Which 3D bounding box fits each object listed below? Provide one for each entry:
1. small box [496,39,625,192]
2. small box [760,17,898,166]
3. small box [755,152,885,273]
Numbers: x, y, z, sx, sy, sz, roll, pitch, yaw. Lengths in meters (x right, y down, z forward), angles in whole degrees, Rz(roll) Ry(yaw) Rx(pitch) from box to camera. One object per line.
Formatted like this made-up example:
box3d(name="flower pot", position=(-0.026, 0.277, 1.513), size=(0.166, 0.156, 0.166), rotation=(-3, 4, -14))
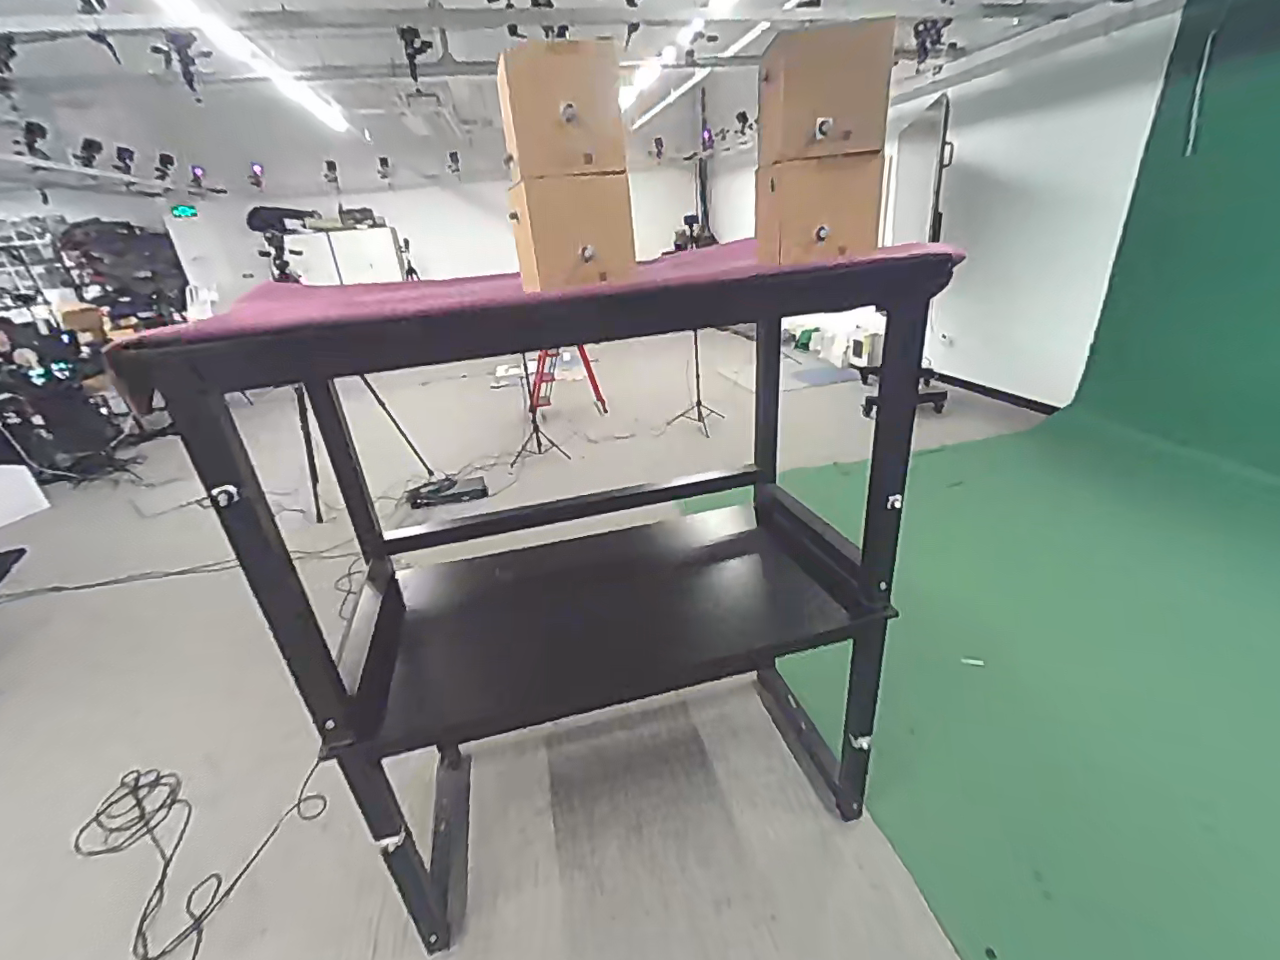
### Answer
box3d(name="small box", position=(-0.125, -0.560, 0.849), size=(0.168, 0.176, 0.179), rotation=(-11, 26, -12))
box3d(name="small box", position=(0.288, -0.603, 0.867), size=(0.168, 0.176, 0.179), rotation=(-6, 27, 3))
box3d(name="small box", position=(0.301, -0.461, 0.944), size=(0.168, 0.176, 0.179), rotation=(-6, 26, -1))
